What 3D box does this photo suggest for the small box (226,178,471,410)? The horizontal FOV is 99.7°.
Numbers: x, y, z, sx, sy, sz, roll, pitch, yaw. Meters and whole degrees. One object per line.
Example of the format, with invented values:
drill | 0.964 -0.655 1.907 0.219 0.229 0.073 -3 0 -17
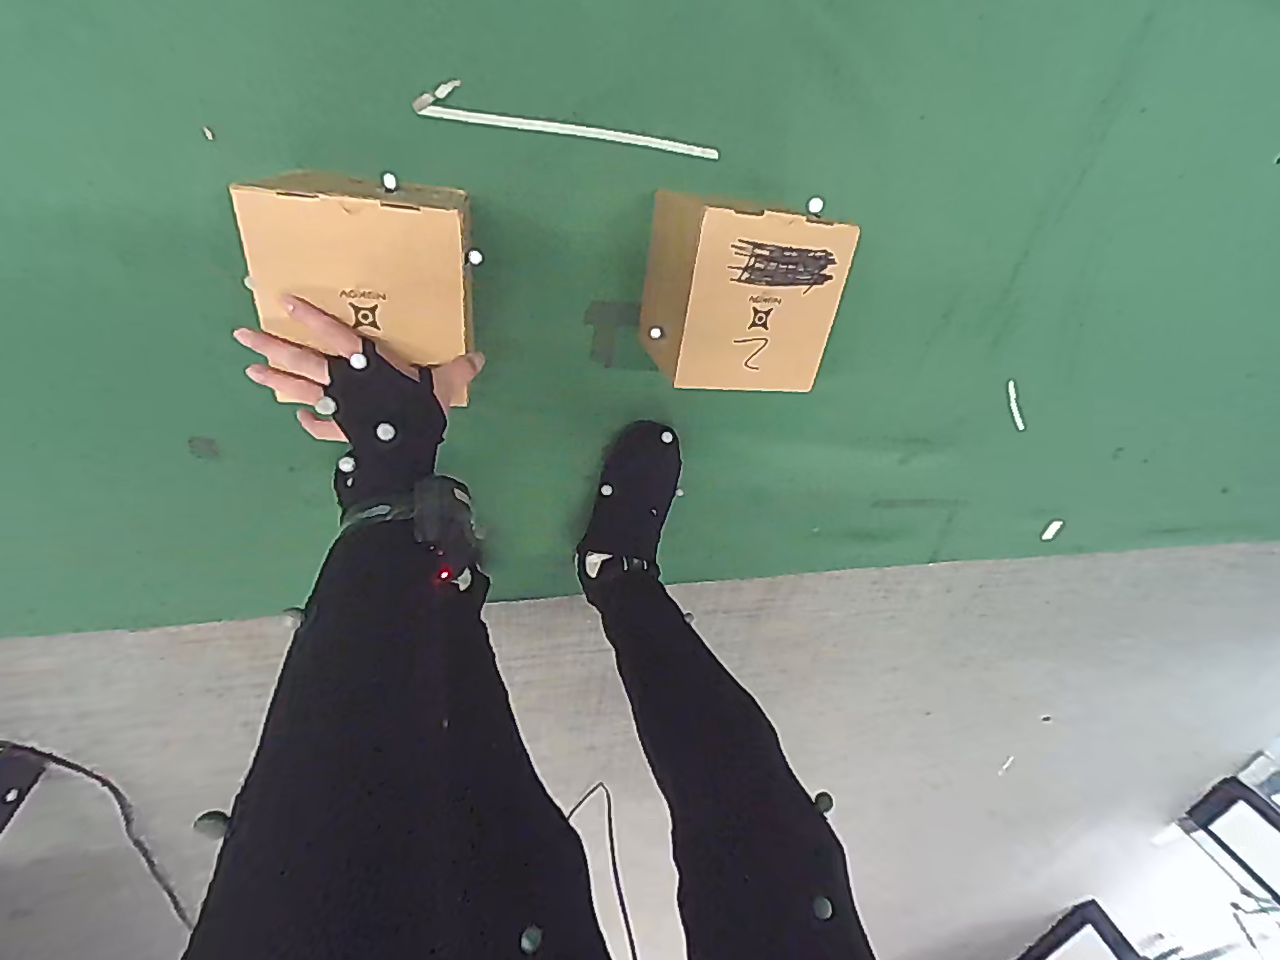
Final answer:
small box | -0.257 -0.184 0.529 0.168 0.176 0.179 -1 121 -15
